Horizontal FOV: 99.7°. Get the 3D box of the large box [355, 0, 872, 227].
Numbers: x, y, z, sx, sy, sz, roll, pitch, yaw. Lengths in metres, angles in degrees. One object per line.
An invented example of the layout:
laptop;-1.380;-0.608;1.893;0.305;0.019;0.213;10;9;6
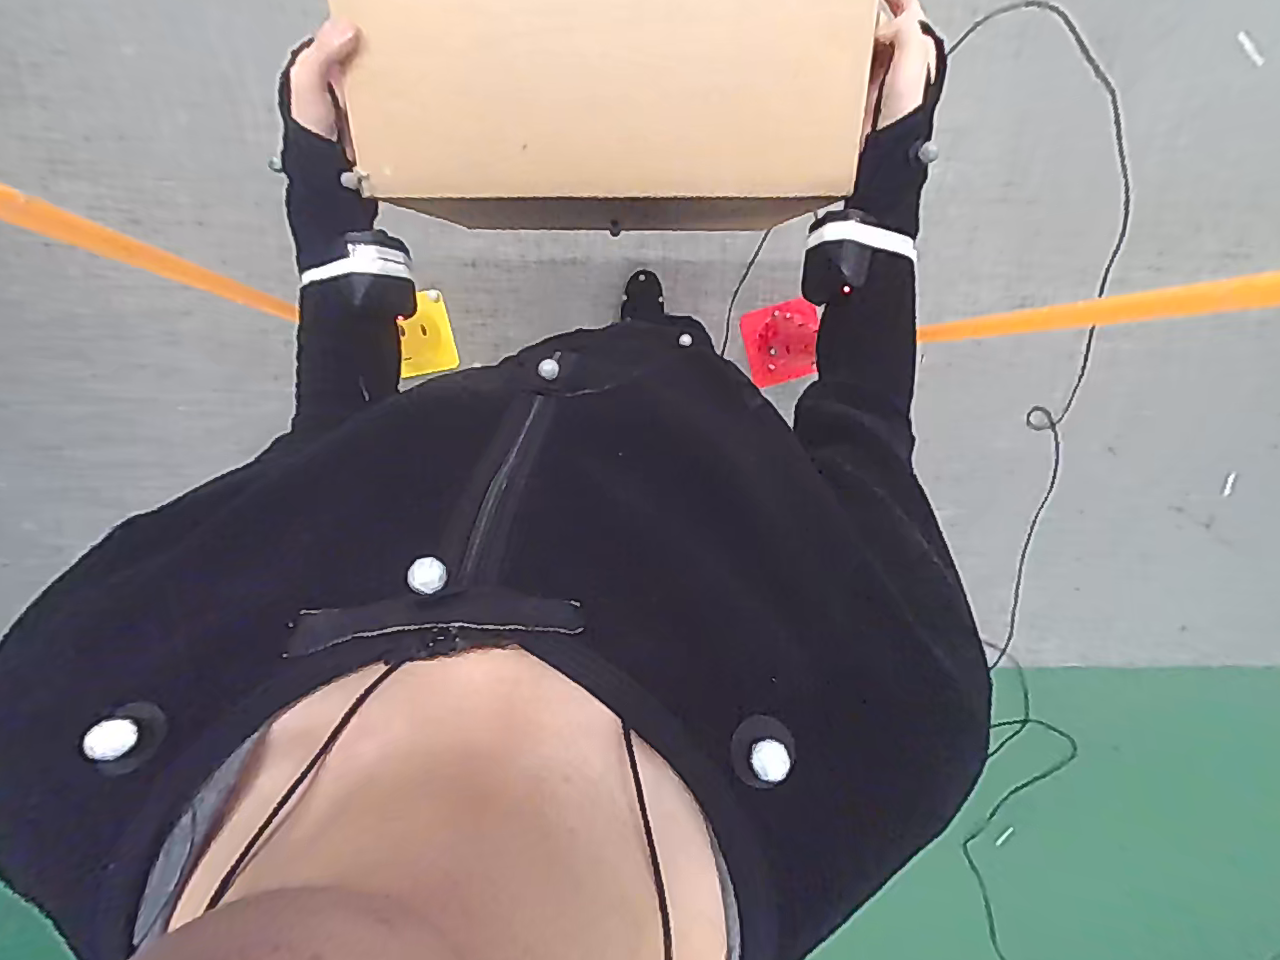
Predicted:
large box;-0.019;-0.439;0.546;0.408;0.320;0.320;-1;109;0
